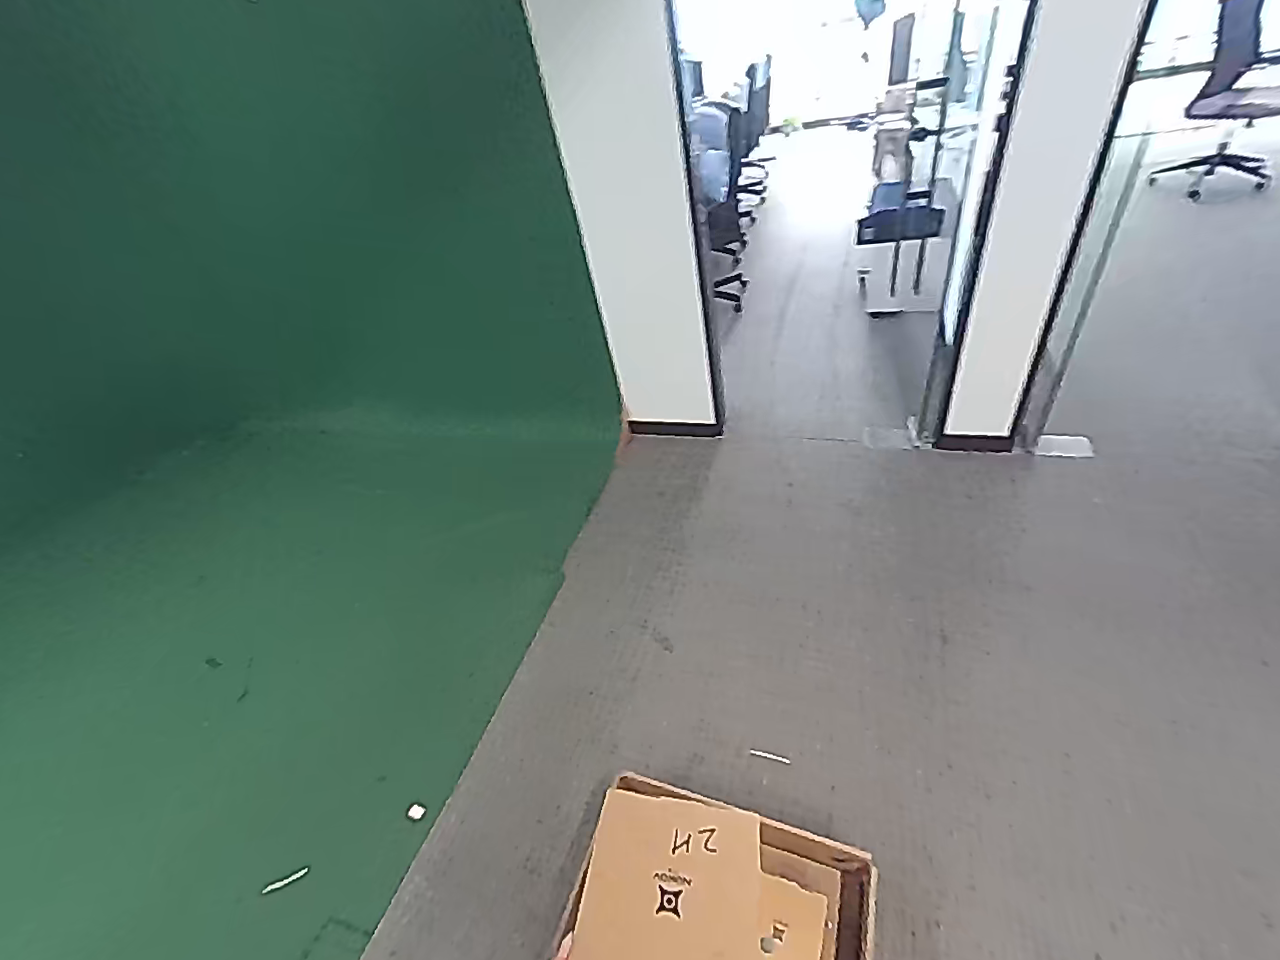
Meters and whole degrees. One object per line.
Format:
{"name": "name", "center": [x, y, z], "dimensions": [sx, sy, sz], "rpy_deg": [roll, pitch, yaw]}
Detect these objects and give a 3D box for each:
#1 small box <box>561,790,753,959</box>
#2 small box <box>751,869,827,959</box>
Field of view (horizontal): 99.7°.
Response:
{"name": "small box", "center": [0.025, 0.458, 0.546], "dimensions": [0.168, 0.176, 0.179], "rpy_deg": [4, 30, 9]}
{"name": "small box", "center": [0.292, 0.961, 1.128], "dimensions": [0.168, 0.176, 0.179], "rpy_deg": [7, 44, 24]}
